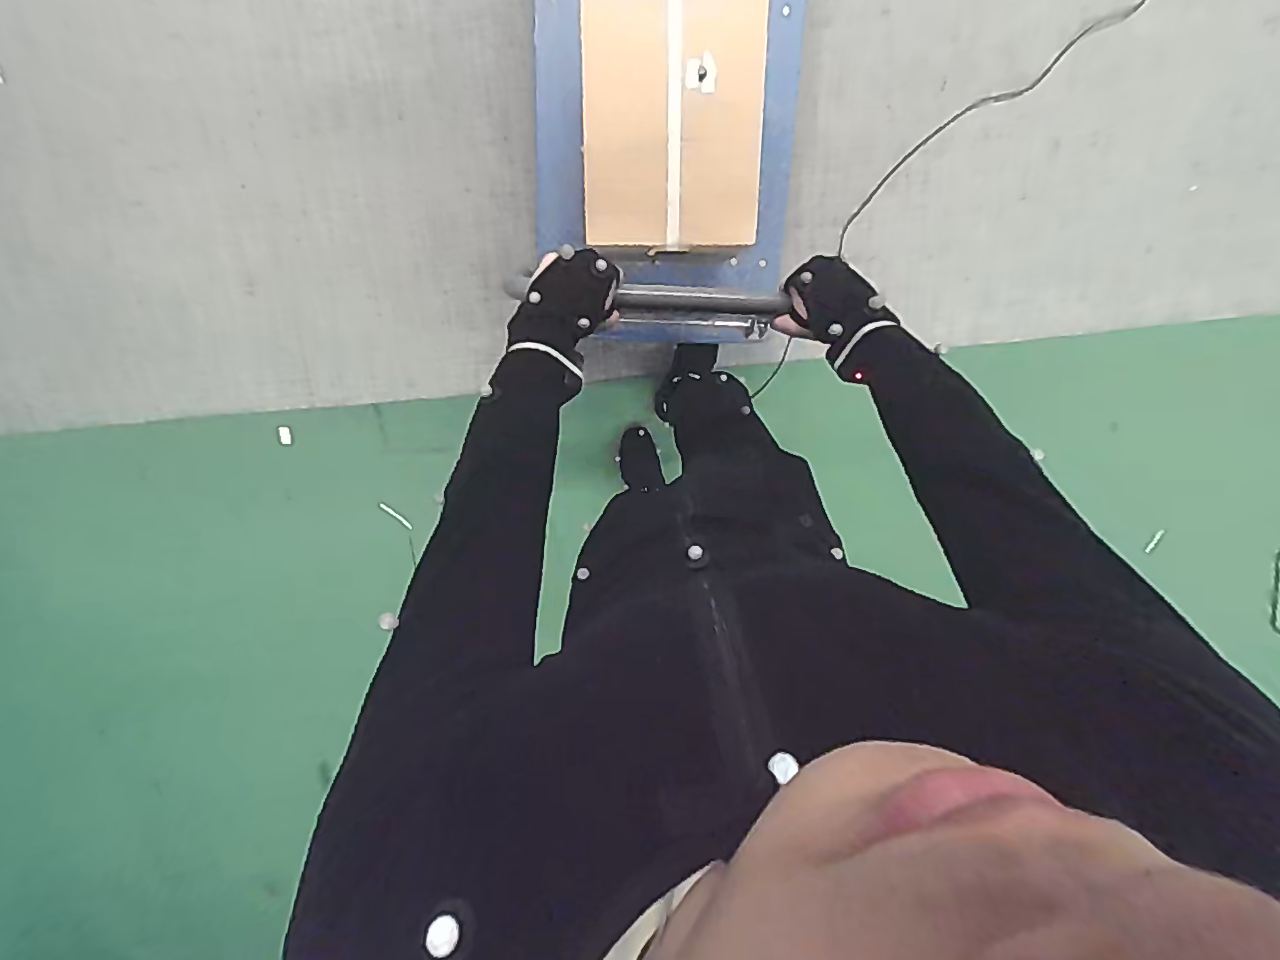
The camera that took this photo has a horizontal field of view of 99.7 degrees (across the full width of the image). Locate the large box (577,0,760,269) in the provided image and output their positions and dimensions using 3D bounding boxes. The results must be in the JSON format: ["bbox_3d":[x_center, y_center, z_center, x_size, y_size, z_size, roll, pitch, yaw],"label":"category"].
[{"bbox_3d":[0.049,-0.658,1.093,0.320,0.320,0.408,-1,105,-2],"label":"large box"}]
